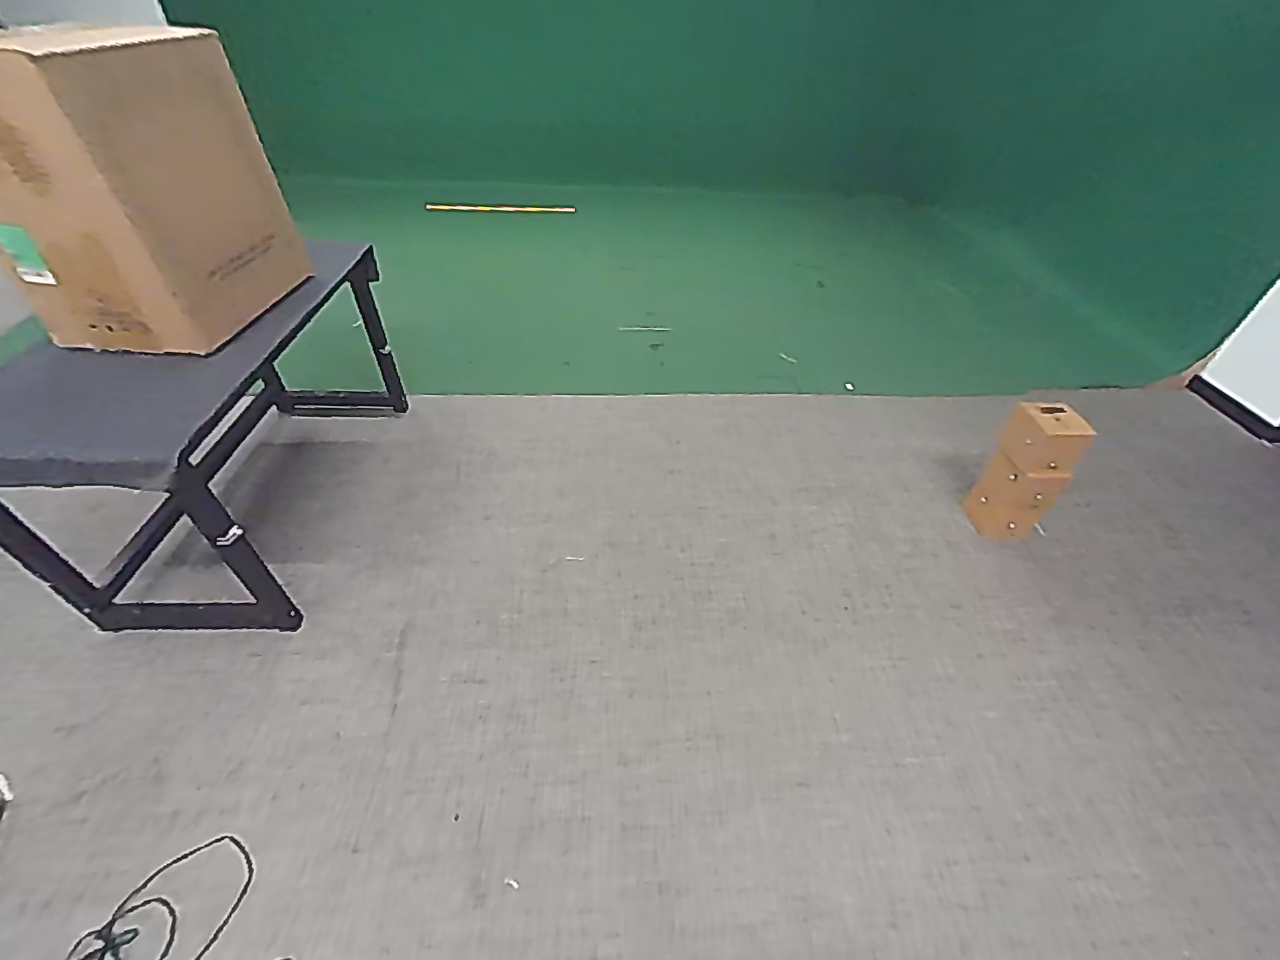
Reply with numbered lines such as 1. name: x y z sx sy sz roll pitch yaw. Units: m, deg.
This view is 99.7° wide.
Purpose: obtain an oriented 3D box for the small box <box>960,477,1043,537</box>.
1. small box: 1.357 0.102 2.042 0.168 0.176 0.179 -2 44 -5

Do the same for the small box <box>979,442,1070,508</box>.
1. small box: 1.360 -0.014 1.924 0.168 0.176 0.179 -1 44 -5
